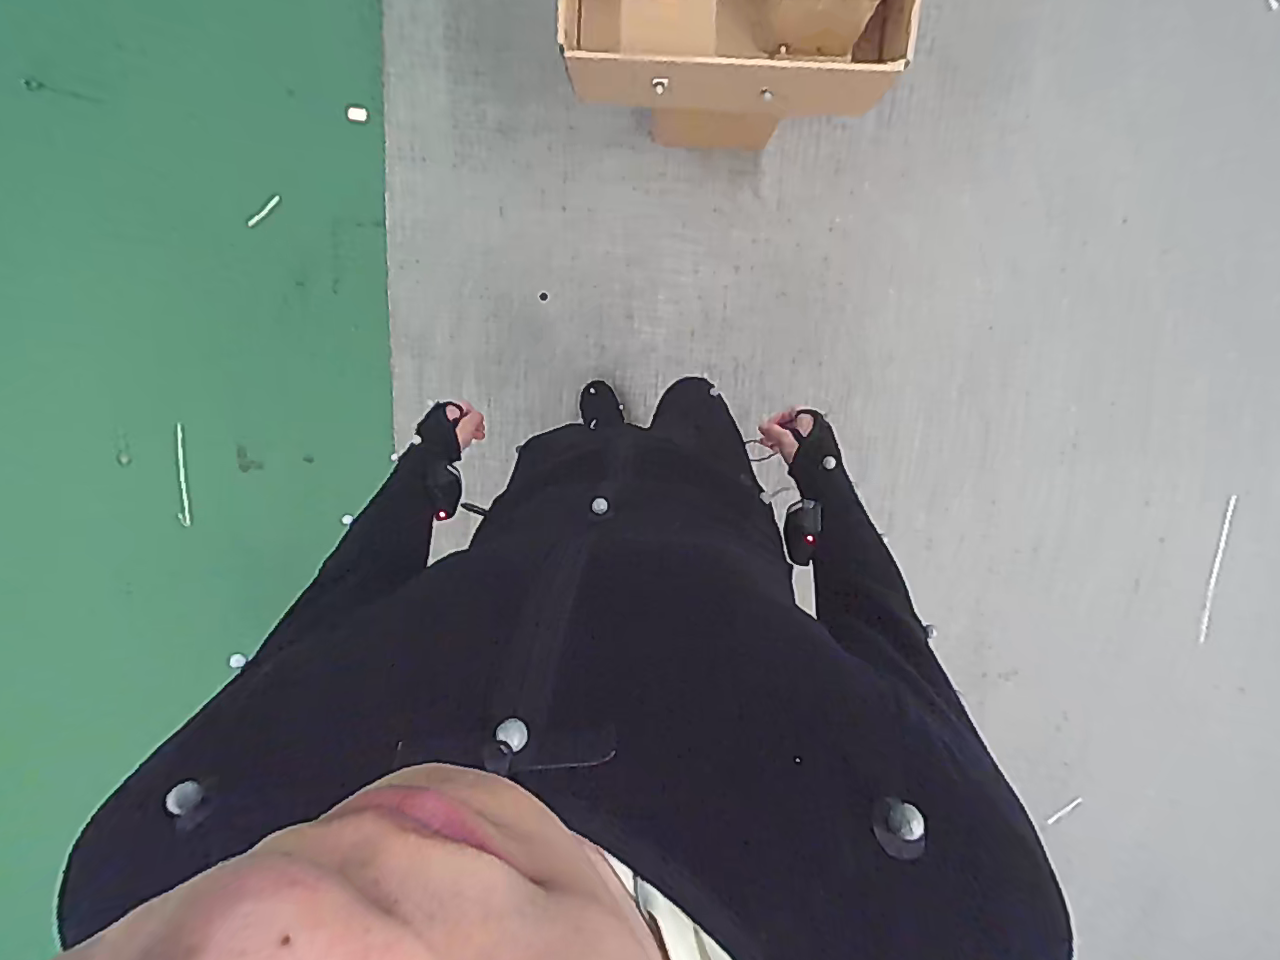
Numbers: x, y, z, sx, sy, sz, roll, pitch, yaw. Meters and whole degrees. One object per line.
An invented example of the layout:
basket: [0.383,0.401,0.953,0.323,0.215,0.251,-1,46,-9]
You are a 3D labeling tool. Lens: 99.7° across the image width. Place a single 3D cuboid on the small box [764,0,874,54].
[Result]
small box: [0.319,-0.894,0.953,0.168,0.176,0.179,2,99,0]
